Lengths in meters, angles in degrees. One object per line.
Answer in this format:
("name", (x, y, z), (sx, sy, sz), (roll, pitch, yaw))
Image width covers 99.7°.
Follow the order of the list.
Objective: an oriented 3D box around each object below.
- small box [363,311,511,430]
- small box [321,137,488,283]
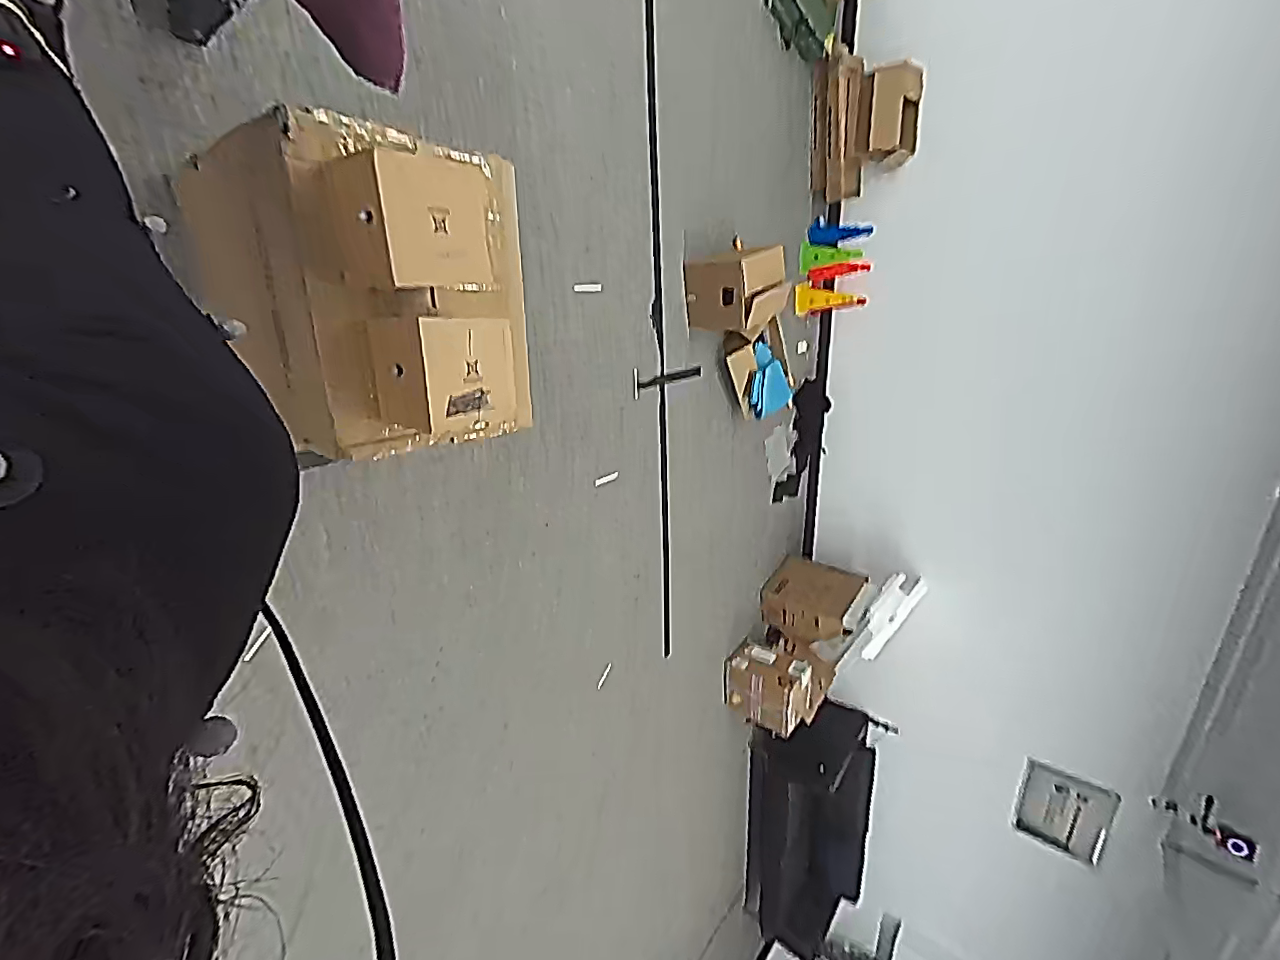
("small box", (-0.339, -0.190, 0.910), (0.168, 0.176, 0.179), (-19, 114, -48))
("small box", (-0.357, -0.394, 0.822), (0.168, 0.176, 0.179), (-22, 120, -46))
